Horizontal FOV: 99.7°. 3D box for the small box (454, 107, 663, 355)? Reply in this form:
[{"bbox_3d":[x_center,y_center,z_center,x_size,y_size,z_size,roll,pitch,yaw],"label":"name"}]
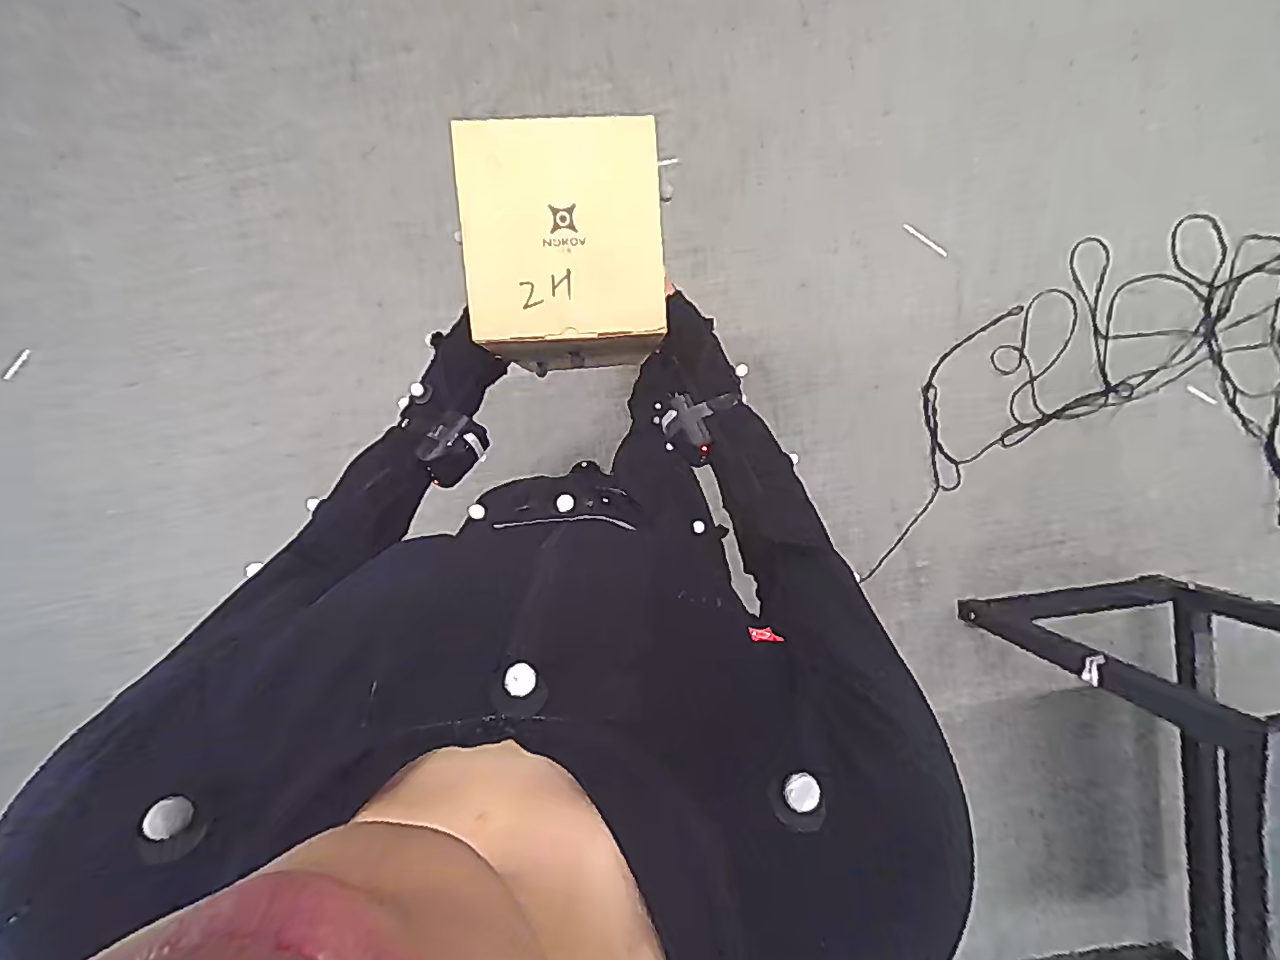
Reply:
[{"bbox_3d":[-0.071,-0.223,0.525,0.168,0.176,0.179,-4,97,-4],"label":"small box"}]
